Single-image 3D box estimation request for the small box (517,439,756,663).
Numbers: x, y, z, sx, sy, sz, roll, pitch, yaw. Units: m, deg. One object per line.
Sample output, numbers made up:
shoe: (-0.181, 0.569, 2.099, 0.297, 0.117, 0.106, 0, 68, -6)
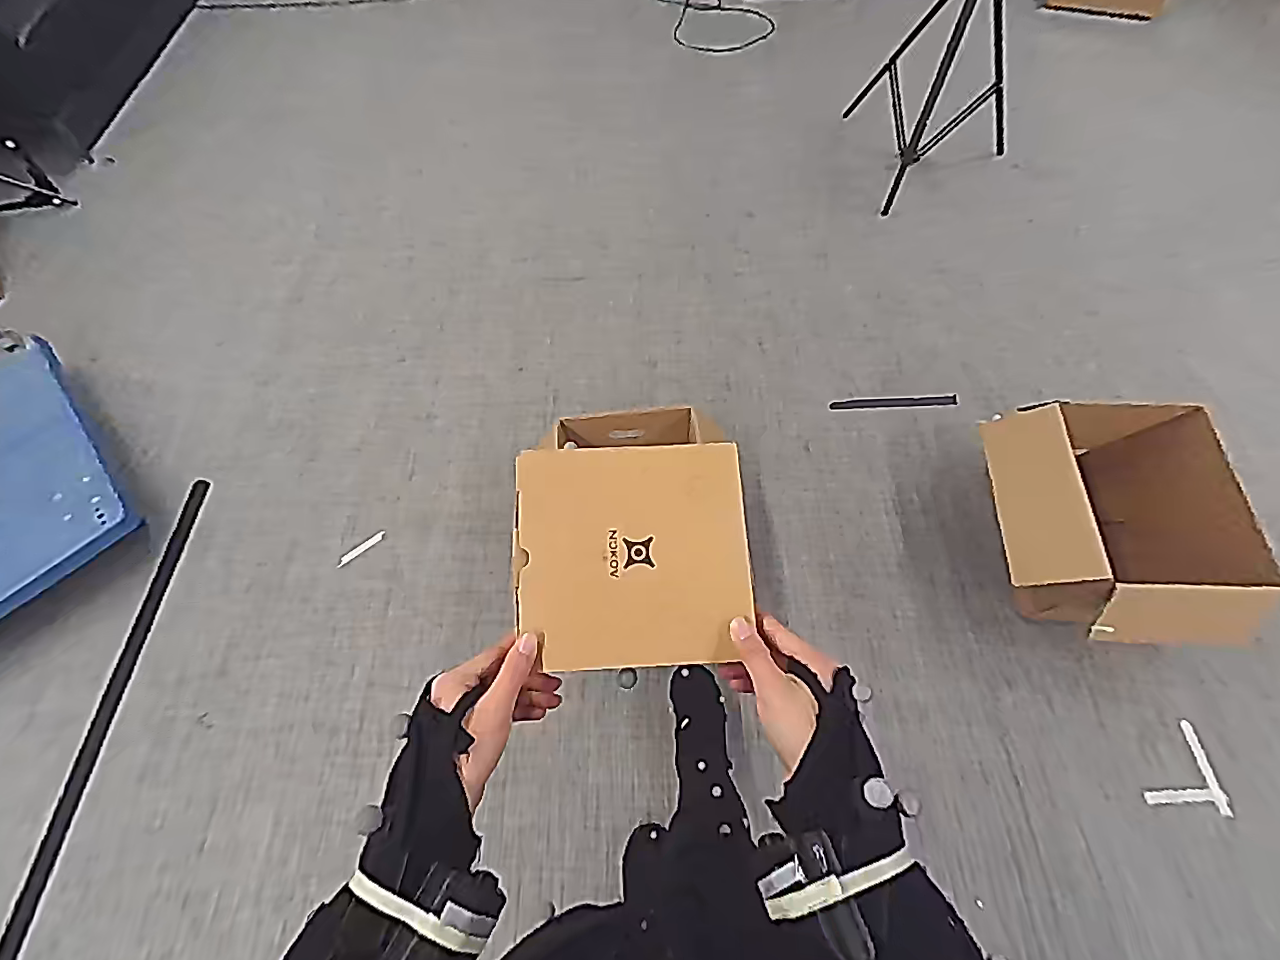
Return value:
small box: (-0.006, 0.068, 0.485, 0.179, 0.176, 0.168, -3, 76, -1)
